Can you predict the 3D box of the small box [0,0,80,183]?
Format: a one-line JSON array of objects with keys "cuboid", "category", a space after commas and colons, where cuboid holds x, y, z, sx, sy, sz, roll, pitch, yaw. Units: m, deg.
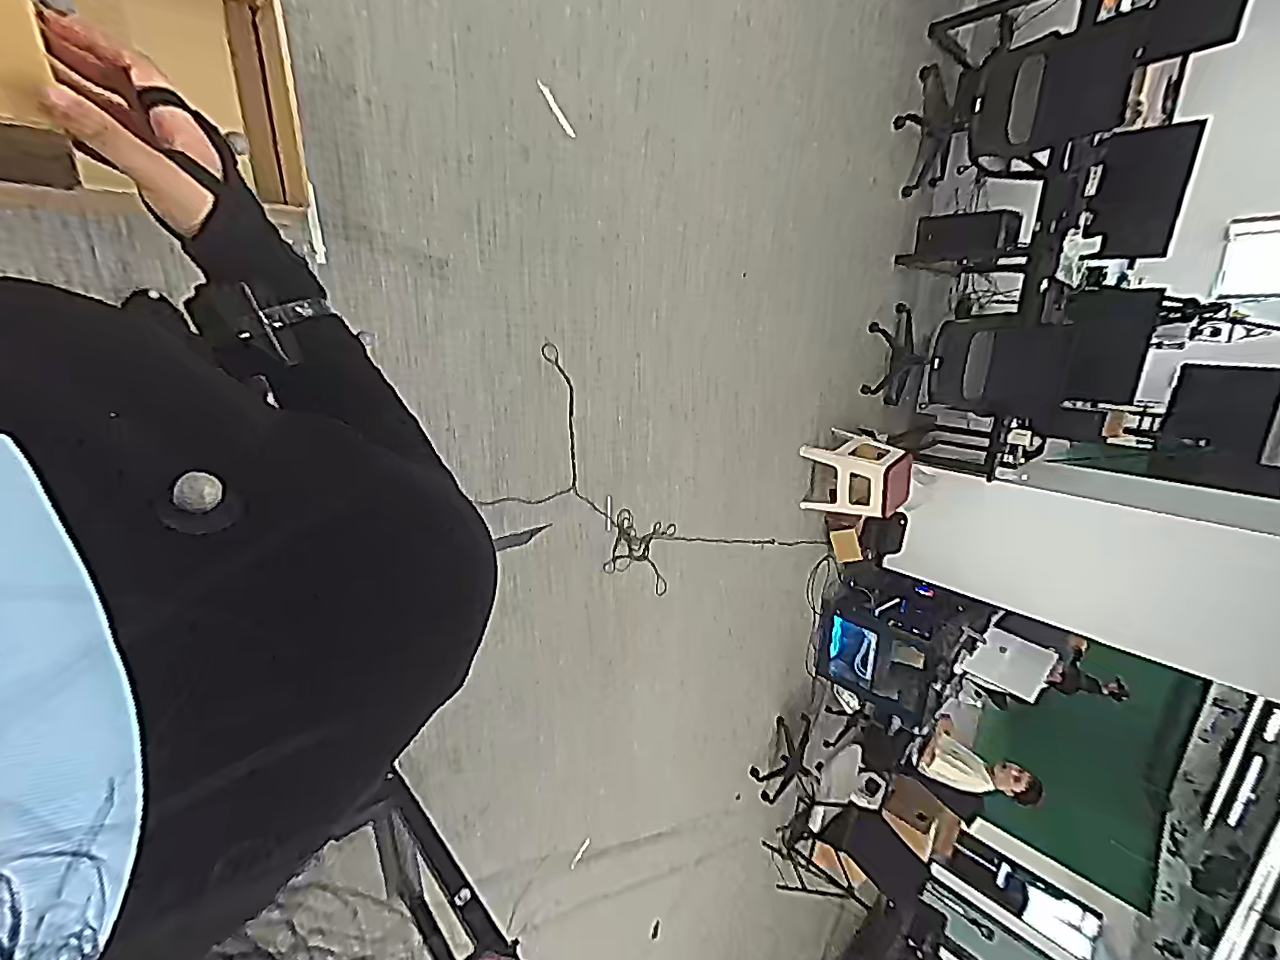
[{"cuboid": [-0.432, -0.280, 0.283, 0.168, 0.176, 0.179, -15, 111, -42], "category": "small box"}]
